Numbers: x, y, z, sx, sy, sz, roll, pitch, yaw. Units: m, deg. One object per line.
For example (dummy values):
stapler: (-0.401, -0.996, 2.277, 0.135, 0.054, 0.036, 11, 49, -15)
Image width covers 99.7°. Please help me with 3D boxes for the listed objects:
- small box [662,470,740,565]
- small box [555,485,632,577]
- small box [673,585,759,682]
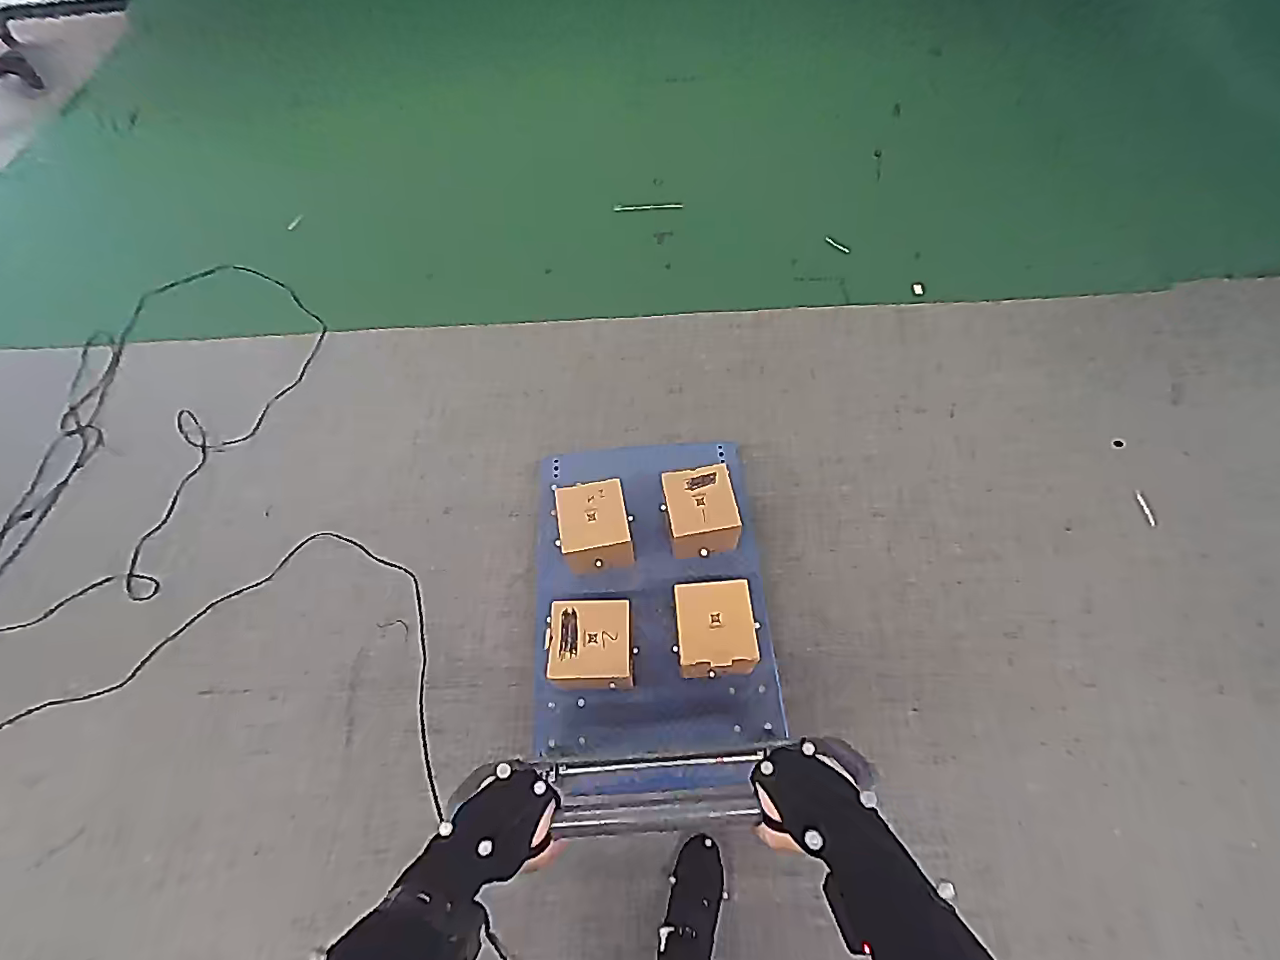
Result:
small box: (0.148, 0.098, 1.382, 0.168, 0.176, 0.179, -9, 62, -2)
small box: (-0.115, 0.136, 1.374, 0.168, 0.176, 0.179, -10, 61, -3)
small box: (0.166, 0.355, 1.240, 0.168, 0.176, 0.179, -4, 61, 0)
